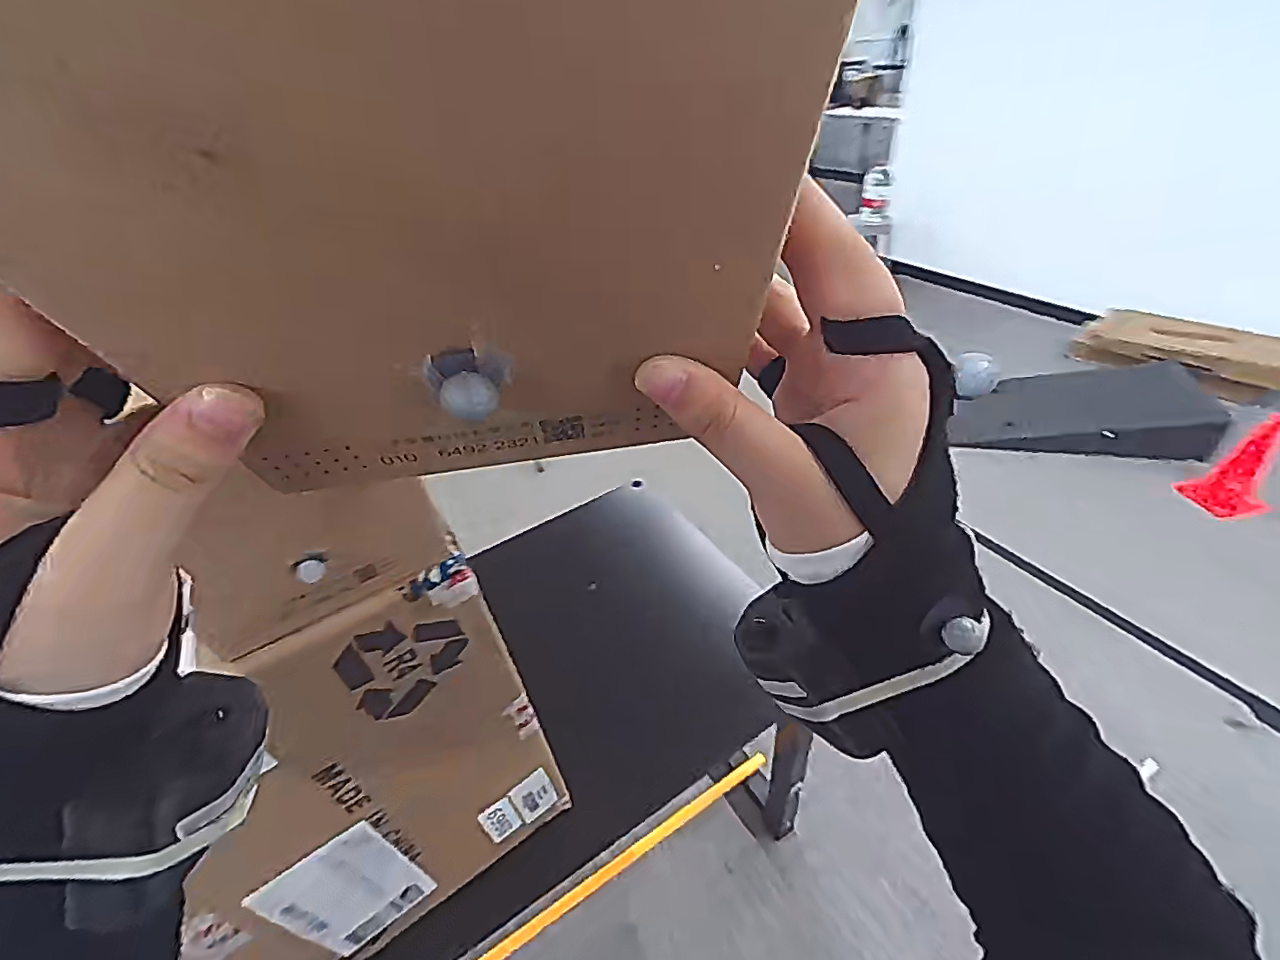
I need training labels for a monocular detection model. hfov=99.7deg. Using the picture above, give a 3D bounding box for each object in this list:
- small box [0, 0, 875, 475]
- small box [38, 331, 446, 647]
[{"bbox_3d":[-0.055,-0.122,0.164,0.168,0.176,0.179,-8,65,-4],"label":"small box"},{"bbox_3d":[-0.269,-0.016,0.401,0.168,0.176,0.179,-27,45,-24],"label":"small box"}]
